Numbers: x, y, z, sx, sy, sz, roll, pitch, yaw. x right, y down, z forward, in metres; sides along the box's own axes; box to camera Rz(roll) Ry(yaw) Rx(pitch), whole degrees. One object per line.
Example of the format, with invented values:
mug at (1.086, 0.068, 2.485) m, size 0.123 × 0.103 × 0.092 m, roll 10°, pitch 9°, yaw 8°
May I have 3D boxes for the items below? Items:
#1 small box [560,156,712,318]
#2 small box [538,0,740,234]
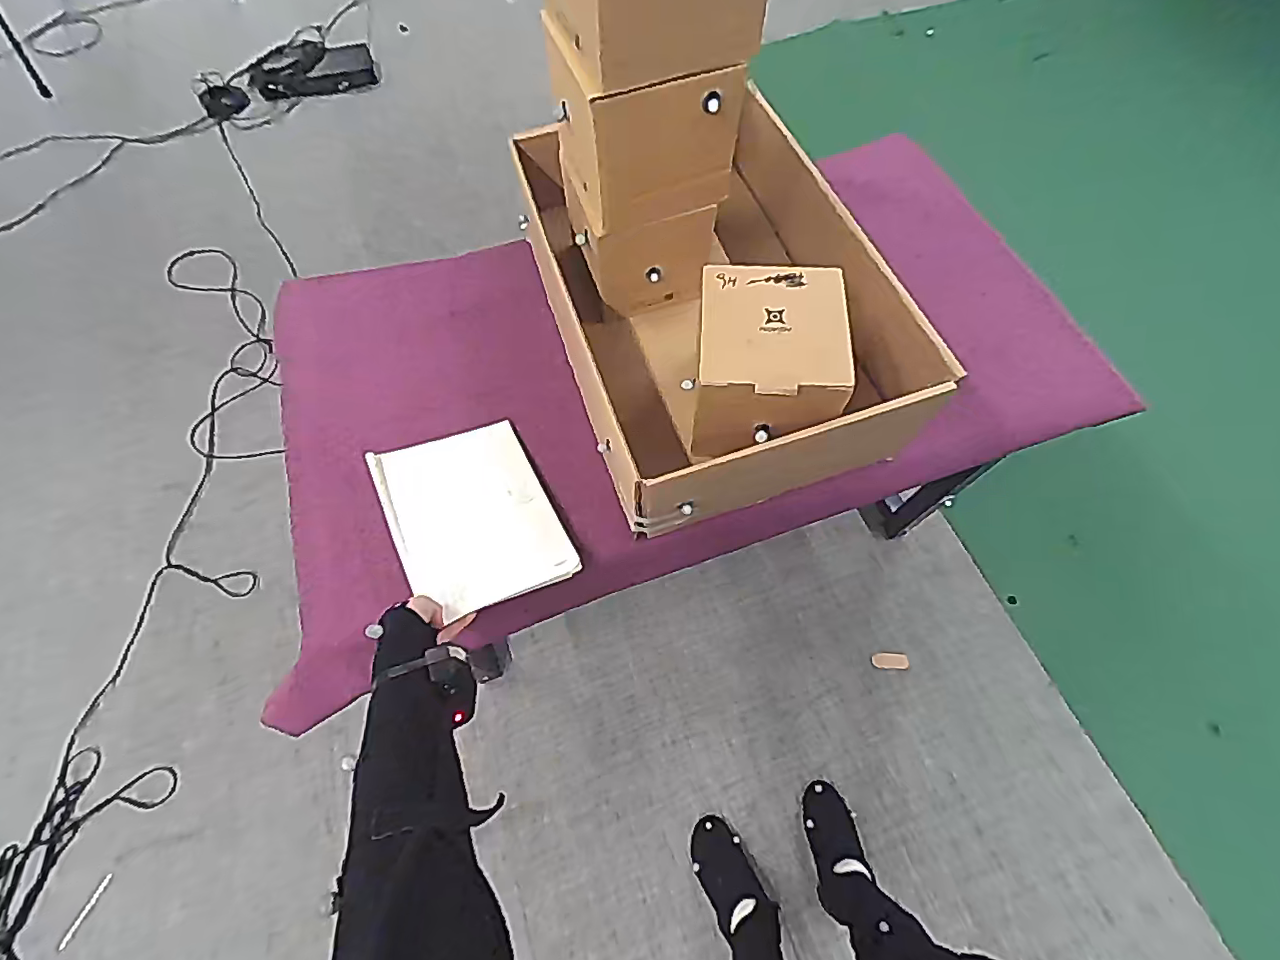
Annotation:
small box at (-0.006, -0.362, 0.794) m, size 0.168 × 0.176 × 0.179 m, roll -18°, pitch 67°, yaw -7°
small box at (-0.002, -0.427, 0.646) m, size 0.179 × 0.176 × 0.168 m, roll -20°, pitch 67°, yaw -8°
